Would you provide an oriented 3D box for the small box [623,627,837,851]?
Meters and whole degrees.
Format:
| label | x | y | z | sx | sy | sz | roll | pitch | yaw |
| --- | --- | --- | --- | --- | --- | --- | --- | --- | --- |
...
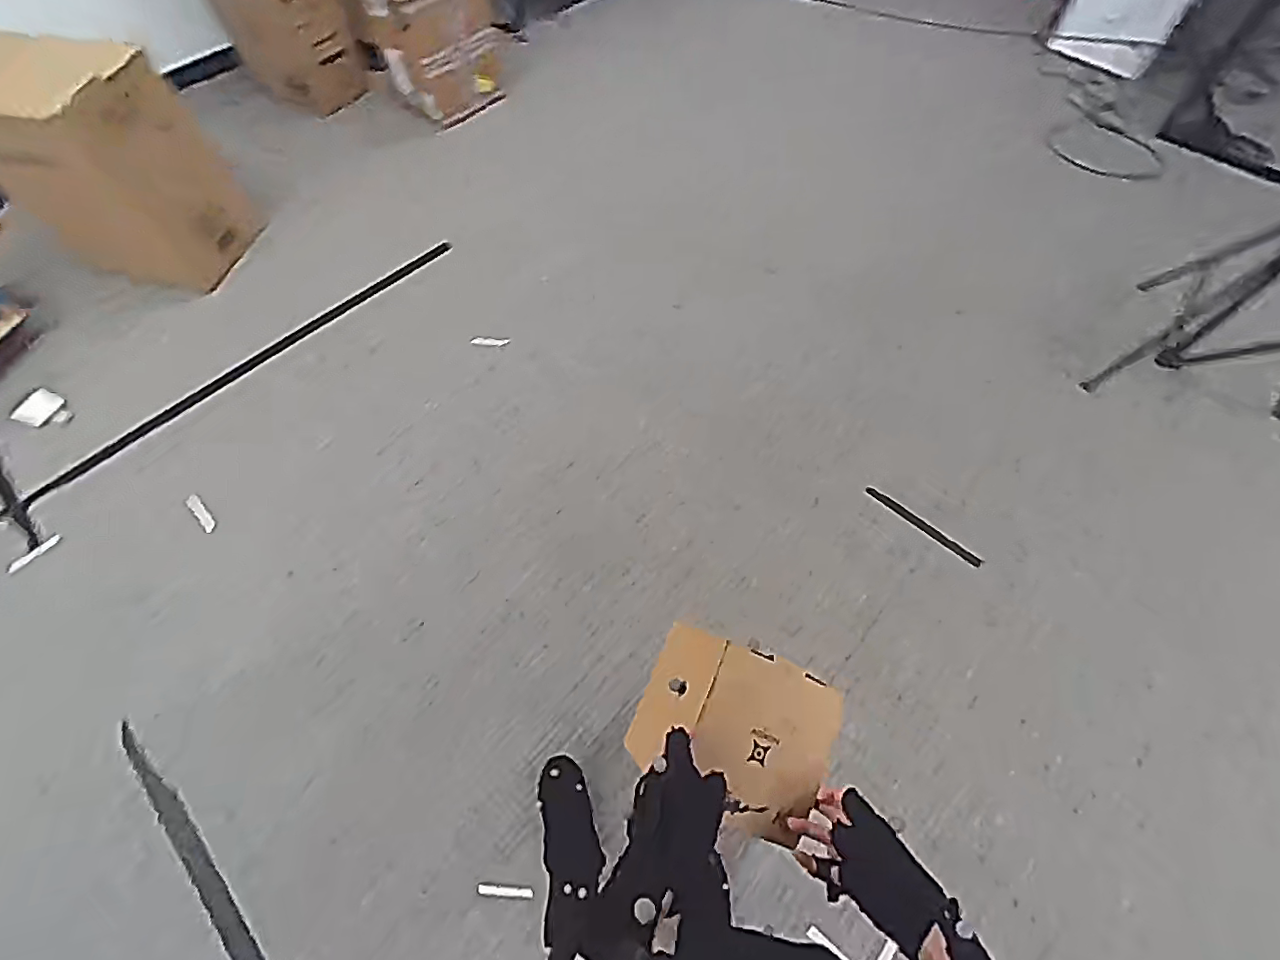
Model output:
| label | x | y | z | sx | sy | sz | roll | pitch | yaw |
| --- | --- | --- | --- | --- | --- | --- | --- | --- | --- |
| small box | 0.098 | 0.294 | 0.655 | 0.168 | 0.176 | 0.179 | 28 | 75 | -13 |
